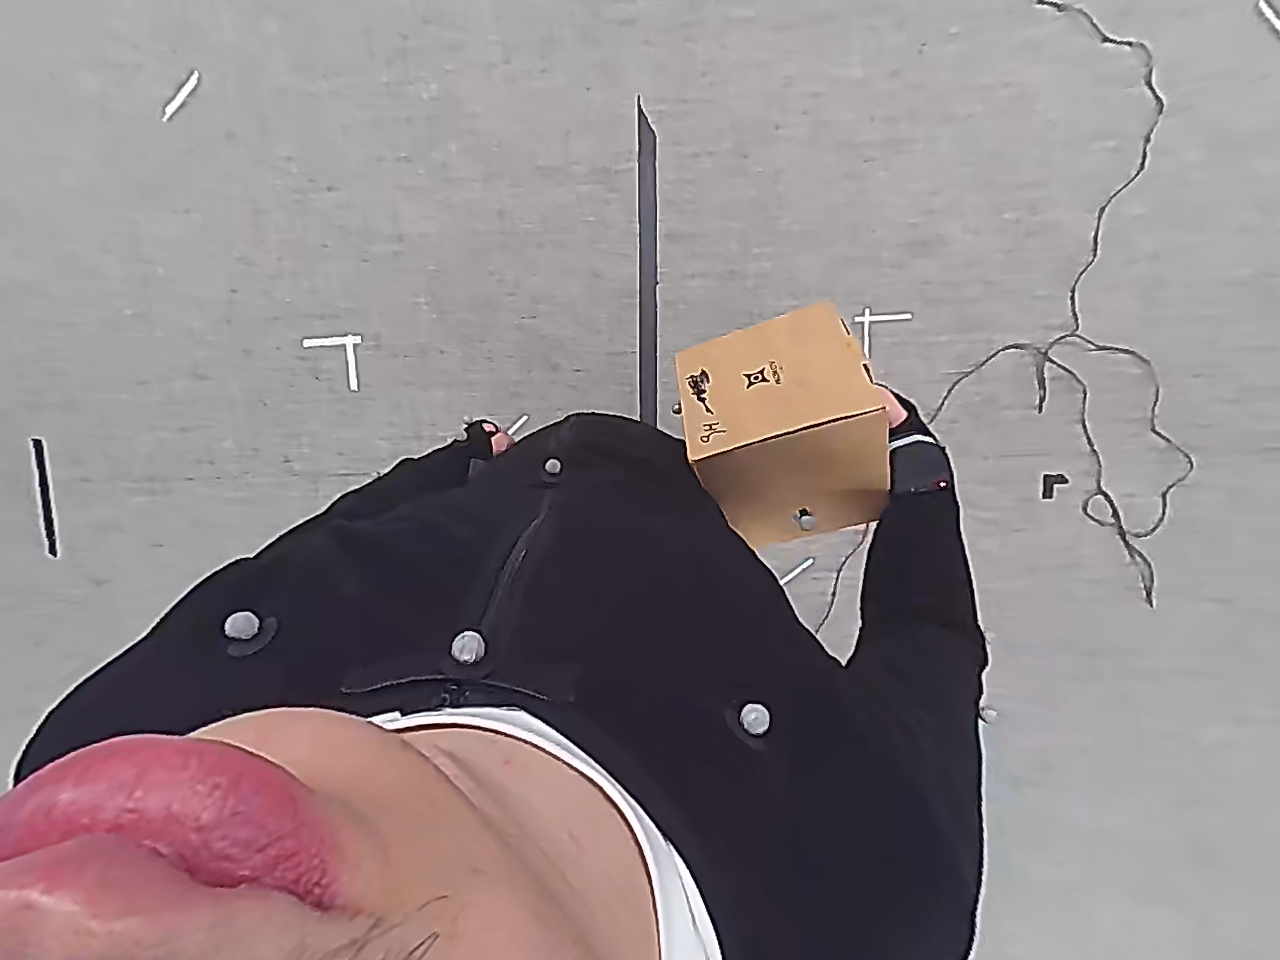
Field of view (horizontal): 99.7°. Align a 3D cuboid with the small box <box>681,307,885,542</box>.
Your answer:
[{"bbox_3d":[0.156,-0.054,0.601,0.179,0.168,0.176,-15,137,13],"label":"small box"}]
